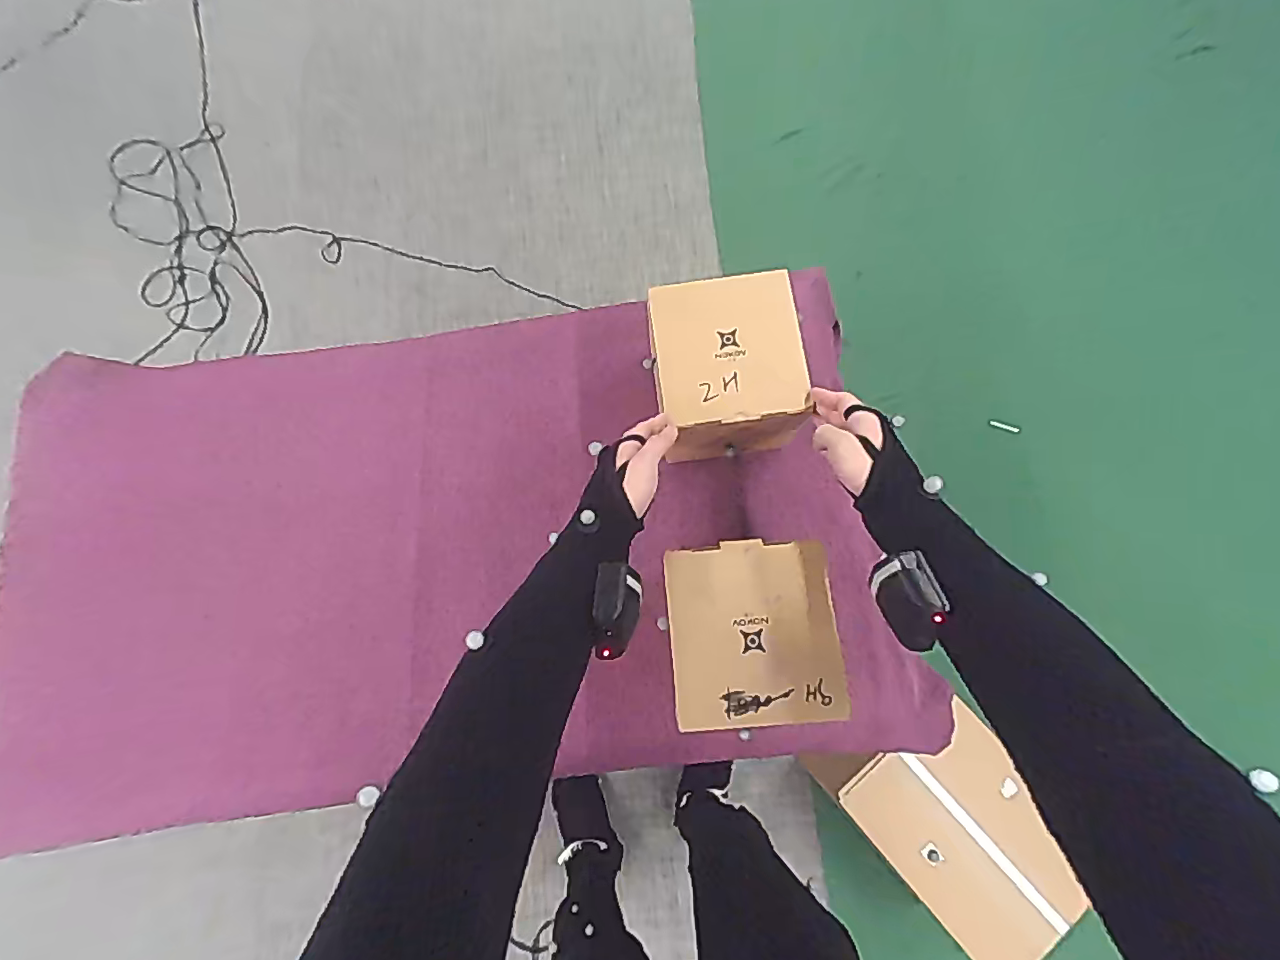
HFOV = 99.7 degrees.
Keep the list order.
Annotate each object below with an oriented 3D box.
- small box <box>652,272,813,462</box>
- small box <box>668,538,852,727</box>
[{"bbox_3d":[0.106,-0.133,0.690,0.168,0.176,0.179,-7,78,2],"label":"small box"},{"bbox_3d":[0.119,0.172,0.612,0.168,0.176,0.179,-5,73,3],"label":"small box"}]
